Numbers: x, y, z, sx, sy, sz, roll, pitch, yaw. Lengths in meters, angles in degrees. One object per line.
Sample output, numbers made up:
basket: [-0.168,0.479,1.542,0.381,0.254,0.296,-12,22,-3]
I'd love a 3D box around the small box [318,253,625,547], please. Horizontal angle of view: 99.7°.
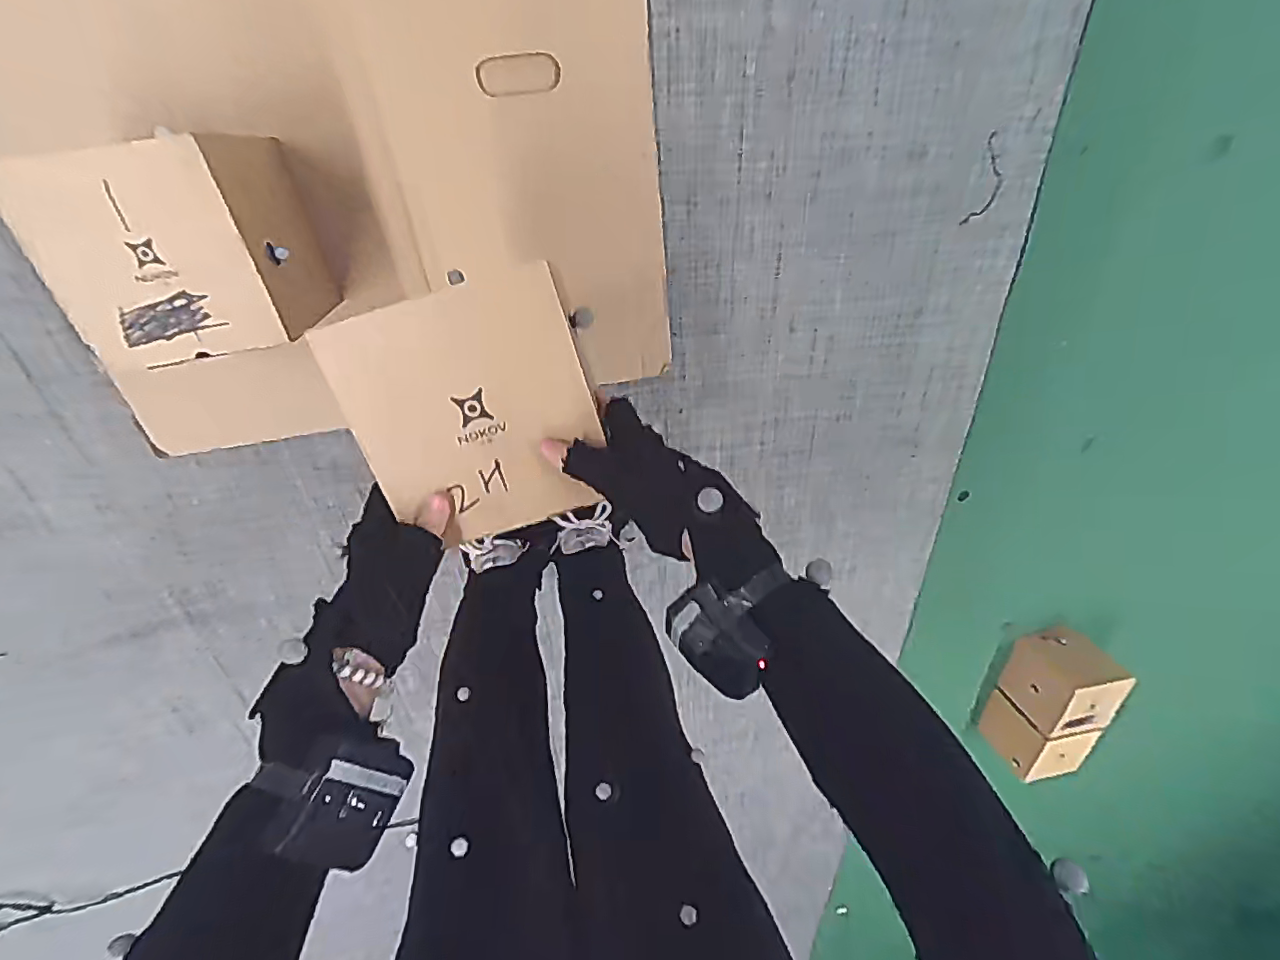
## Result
small box: [-0.120,-0.075,0.455,0.168,0.176,0.179,-17,112,0]

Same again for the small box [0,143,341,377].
small box: [-0.432,-0.225,0.539,0.168,0.176,0.179,-12,122,-5]
